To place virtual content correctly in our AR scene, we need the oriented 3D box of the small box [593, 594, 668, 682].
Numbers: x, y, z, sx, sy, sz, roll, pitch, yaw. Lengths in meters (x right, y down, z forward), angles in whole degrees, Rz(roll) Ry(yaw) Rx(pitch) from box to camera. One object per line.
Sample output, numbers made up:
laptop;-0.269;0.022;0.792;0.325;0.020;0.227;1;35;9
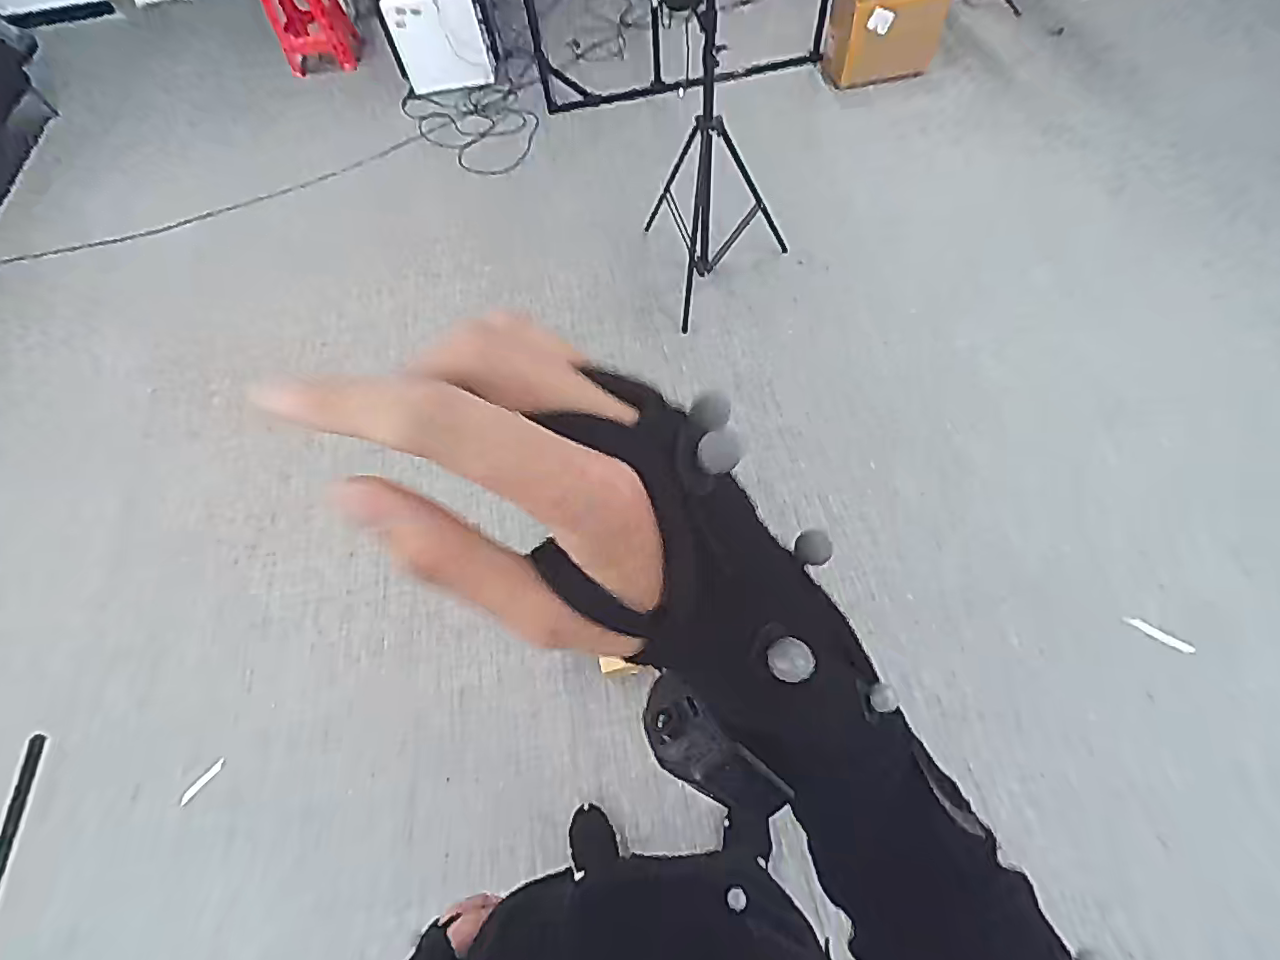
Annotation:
small box;-0.023;0.433;1.470;0.168;0.176;0.179;-14;62;-1
